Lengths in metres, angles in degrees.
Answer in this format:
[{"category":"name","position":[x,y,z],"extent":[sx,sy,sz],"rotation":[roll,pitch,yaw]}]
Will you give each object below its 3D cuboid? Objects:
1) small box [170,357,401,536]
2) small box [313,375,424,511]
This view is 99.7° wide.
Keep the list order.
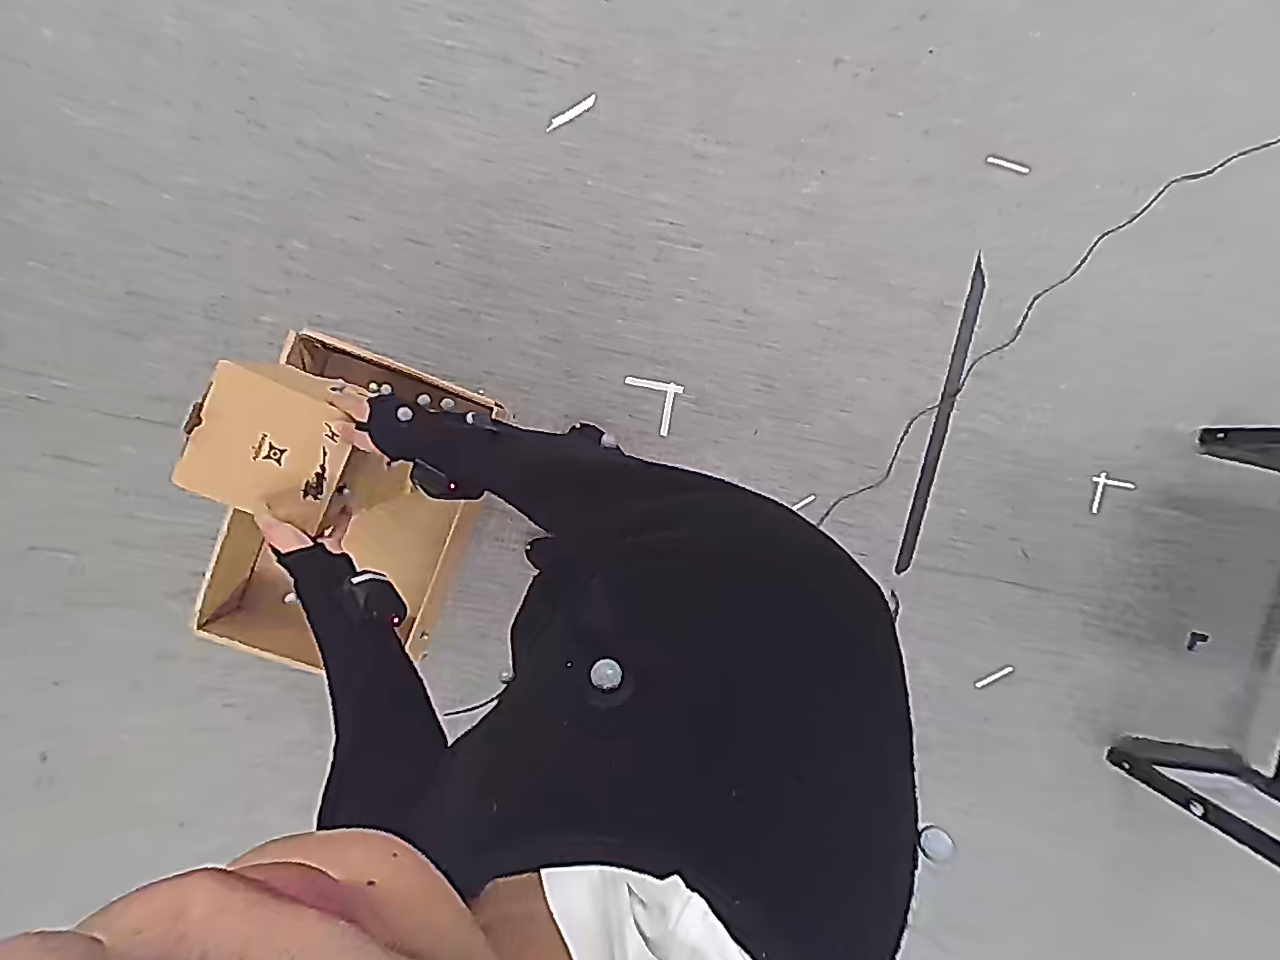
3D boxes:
[{"category":"small box","position":[-0.459,-0.047,0.730],"extent":[0.179,0.176,0.168],"rotation":[25,95,-10]},{"category":"small box","position":[-0.483,-0.065,0.901],"extent":[0.168,0.176,0.179],"rotation":[18,94,-6]}]
